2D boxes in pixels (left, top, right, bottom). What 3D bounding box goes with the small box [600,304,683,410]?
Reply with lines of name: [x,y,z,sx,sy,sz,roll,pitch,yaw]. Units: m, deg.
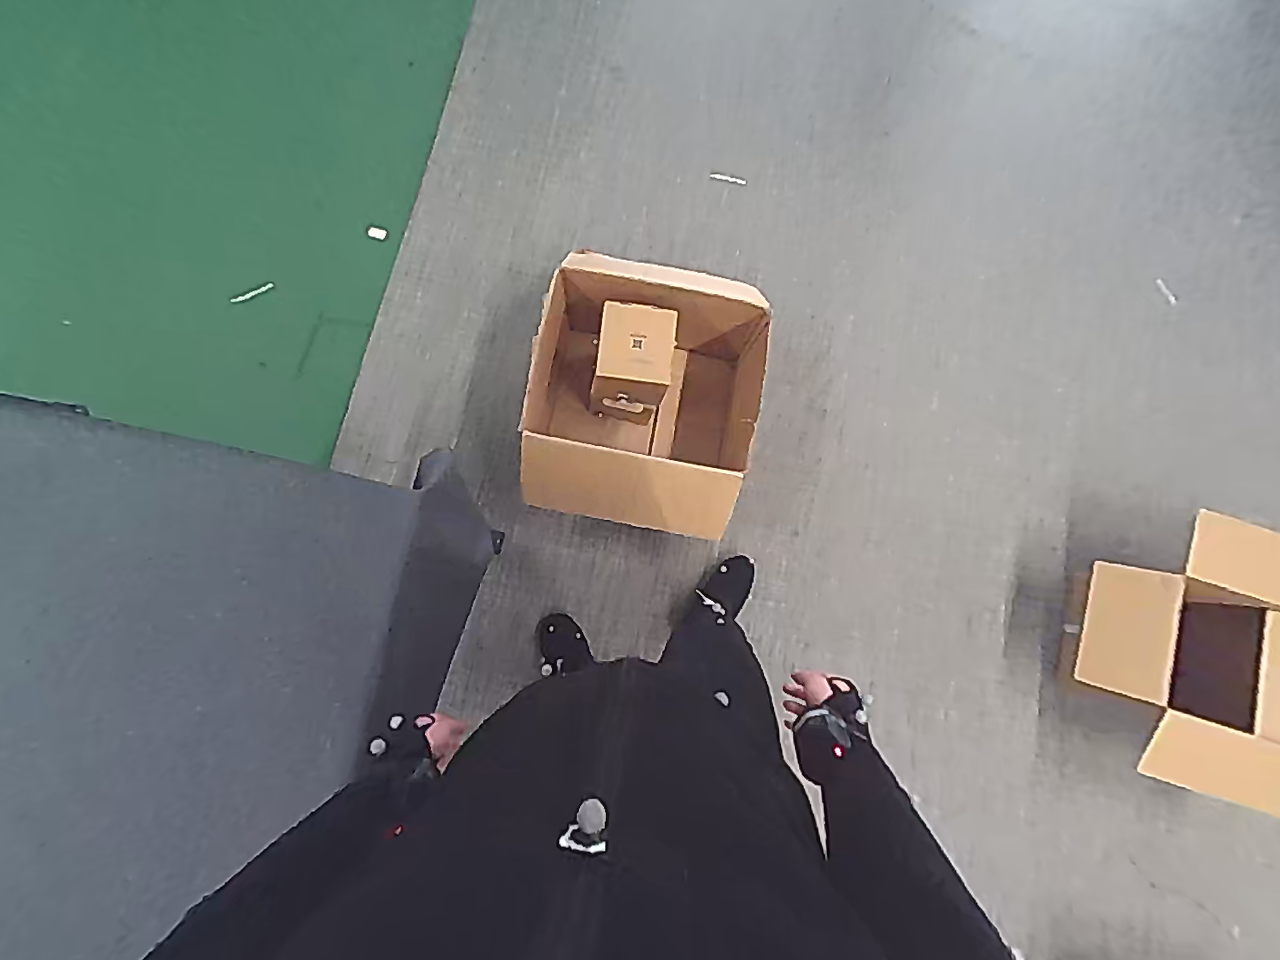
small box: [-0.002,-0.278,1.249,0.168,0.176,0.179,7,81,-5]
